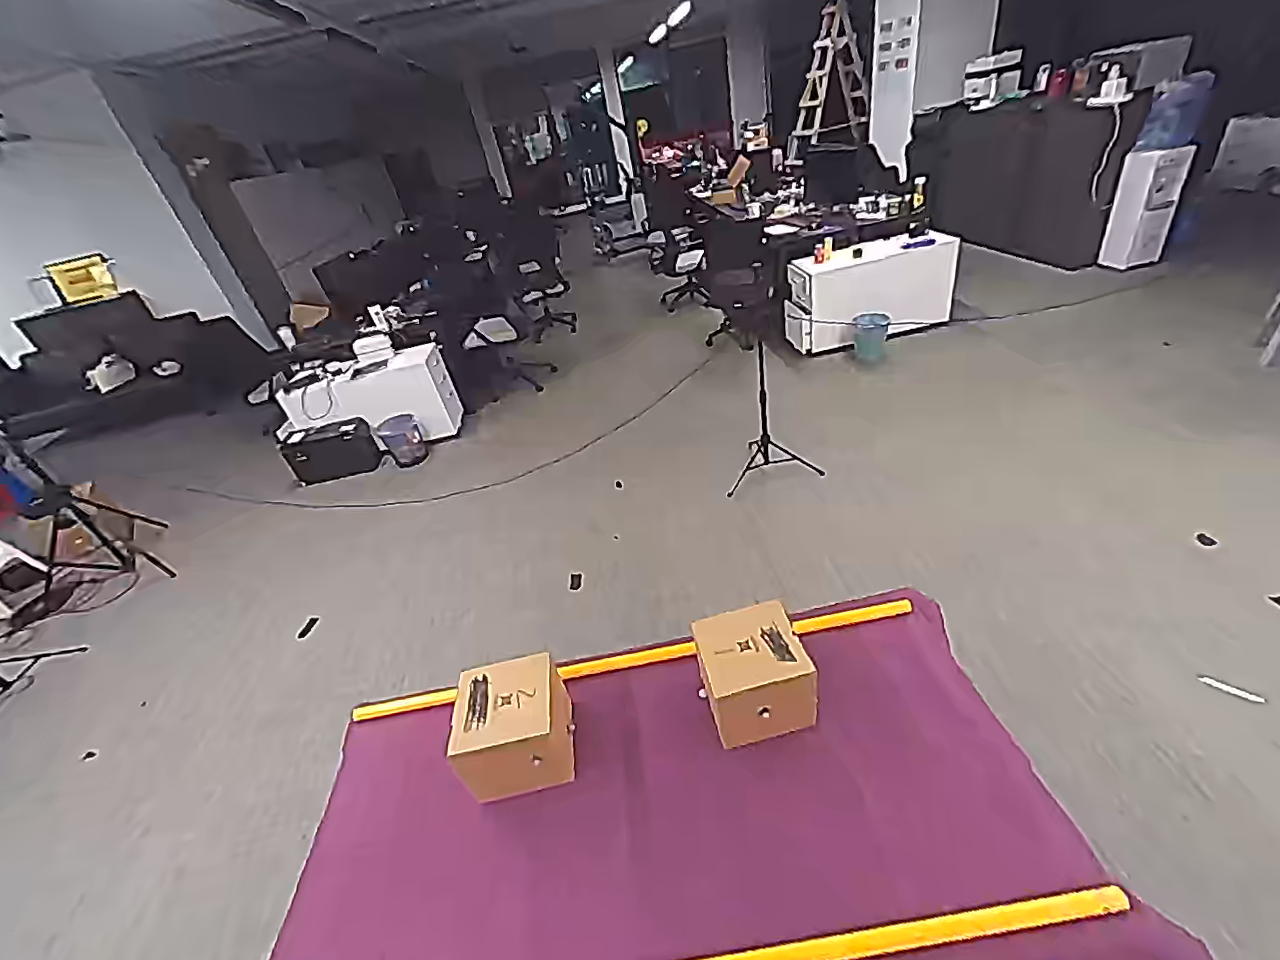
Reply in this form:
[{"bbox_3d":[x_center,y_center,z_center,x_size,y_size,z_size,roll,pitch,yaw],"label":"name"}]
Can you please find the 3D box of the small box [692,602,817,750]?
[{"bbox_3d":[0.205,0.356,0.983,0.179,0.176,0.168,-15,35,-1],"label":"small box"}]
